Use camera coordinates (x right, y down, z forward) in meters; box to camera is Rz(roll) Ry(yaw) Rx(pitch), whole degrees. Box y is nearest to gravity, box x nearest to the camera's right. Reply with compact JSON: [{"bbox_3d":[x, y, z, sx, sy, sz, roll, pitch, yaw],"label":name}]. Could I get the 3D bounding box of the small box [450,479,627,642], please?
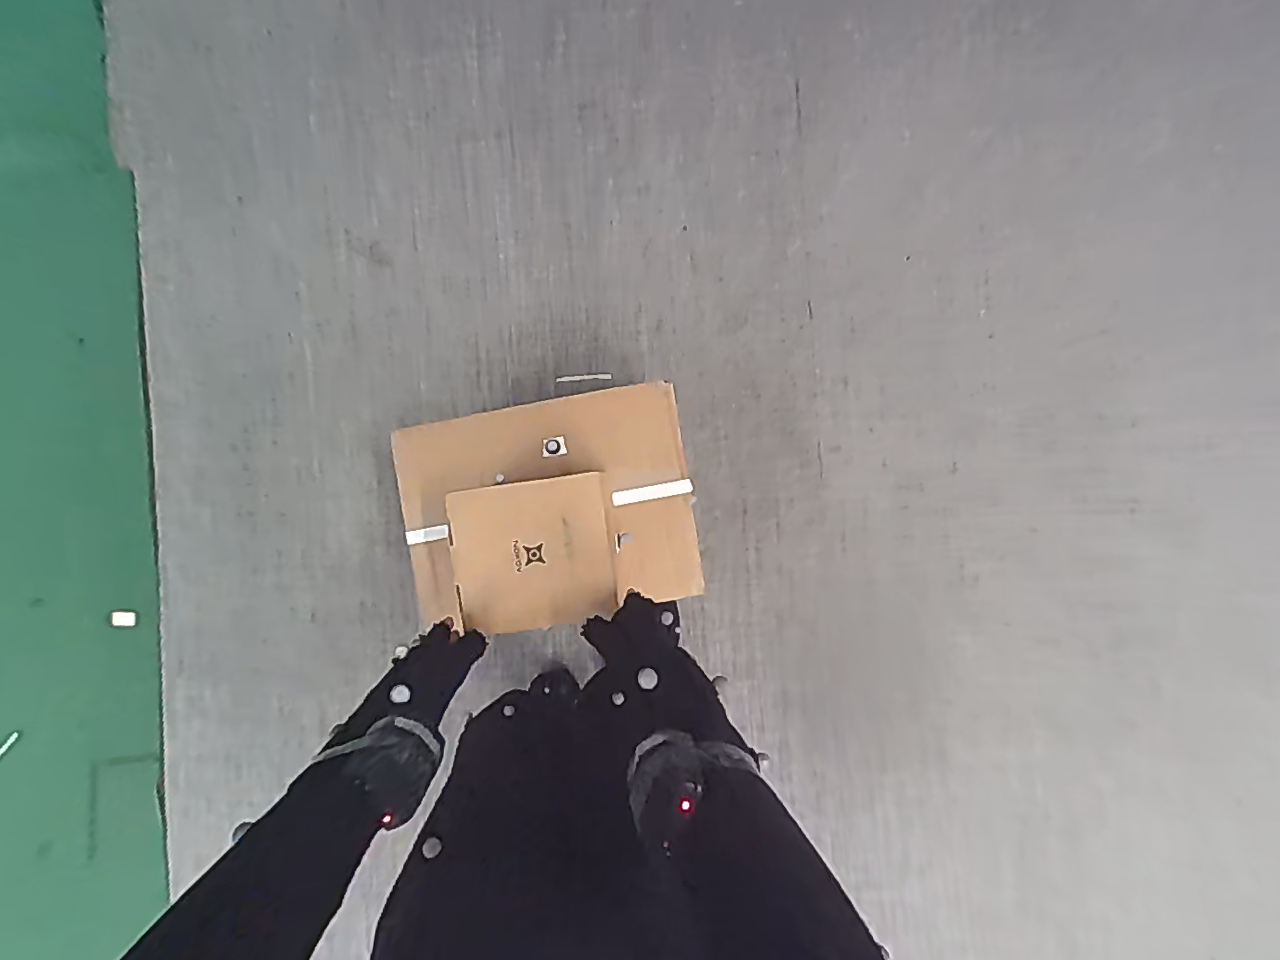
[{"bbox_3d":[-0.116,0.092,0.687,0.179,0.176,0.168,-9,91,0],"label":"small box"}]
